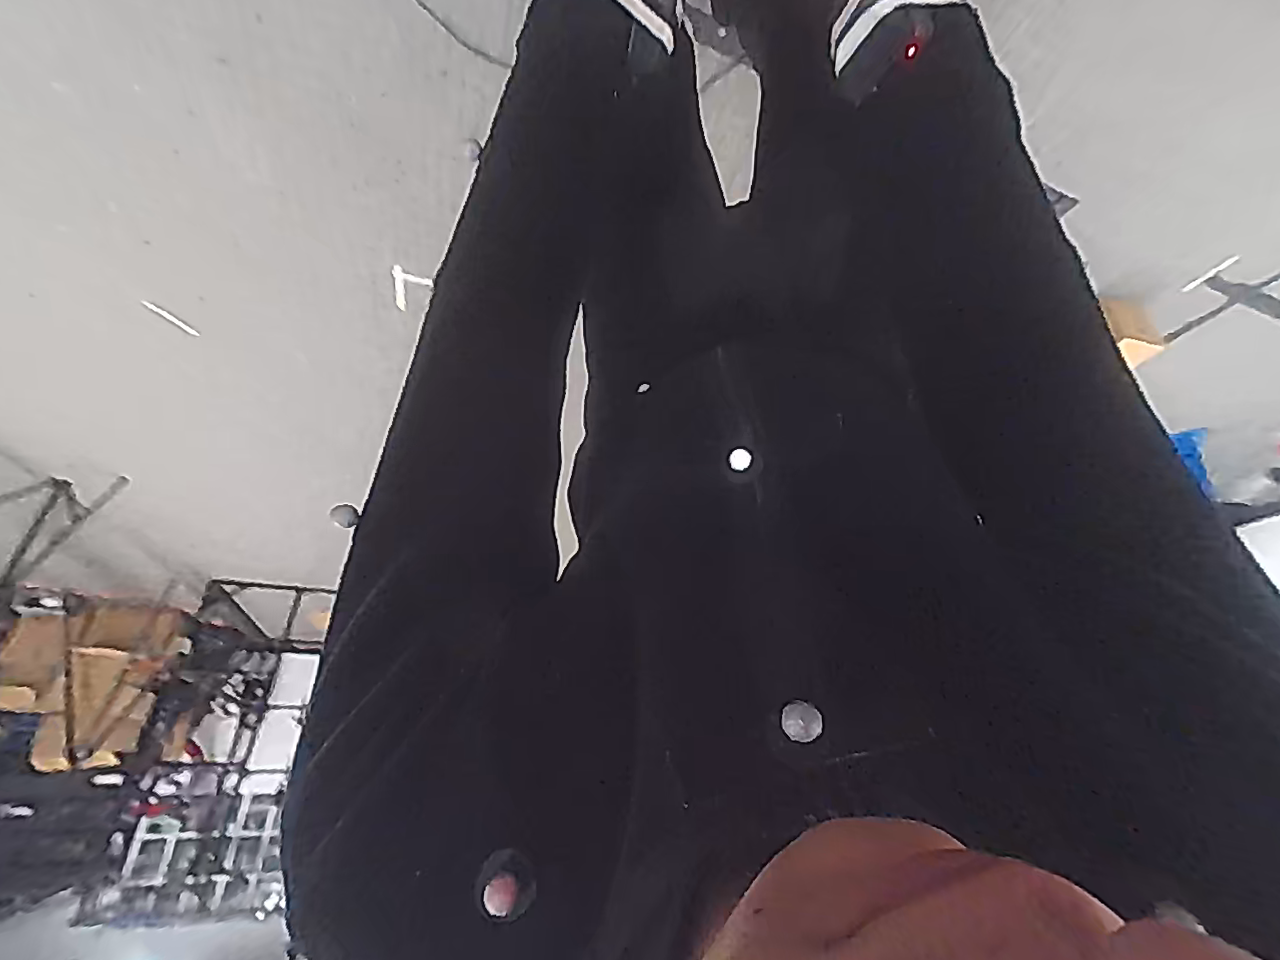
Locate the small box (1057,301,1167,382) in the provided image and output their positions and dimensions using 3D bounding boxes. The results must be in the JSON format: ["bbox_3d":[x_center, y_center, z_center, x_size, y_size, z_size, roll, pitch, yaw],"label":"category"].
[{"bbox_3d":[1.478,-0.438,1.702,0.179,0.176,0.168,9,150,-14],"label":"small box"}]
